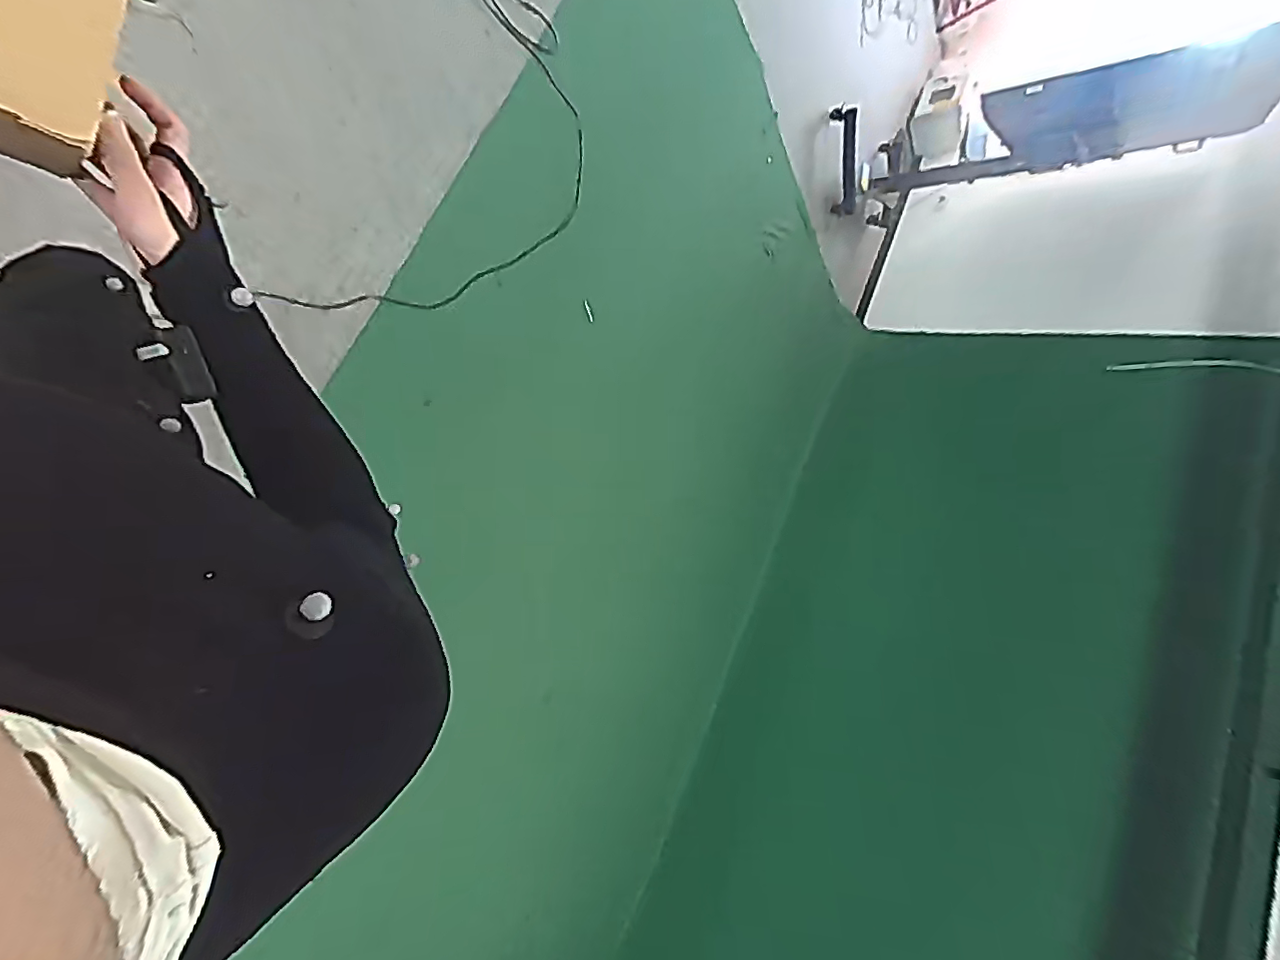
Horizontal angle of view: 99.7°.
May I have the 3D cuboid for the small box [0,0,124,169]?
[{"bbox_3d":[-0.449,-0.329,0.336,0.168,0.176,0.179,12,94,-52],"label":"small box"}]
